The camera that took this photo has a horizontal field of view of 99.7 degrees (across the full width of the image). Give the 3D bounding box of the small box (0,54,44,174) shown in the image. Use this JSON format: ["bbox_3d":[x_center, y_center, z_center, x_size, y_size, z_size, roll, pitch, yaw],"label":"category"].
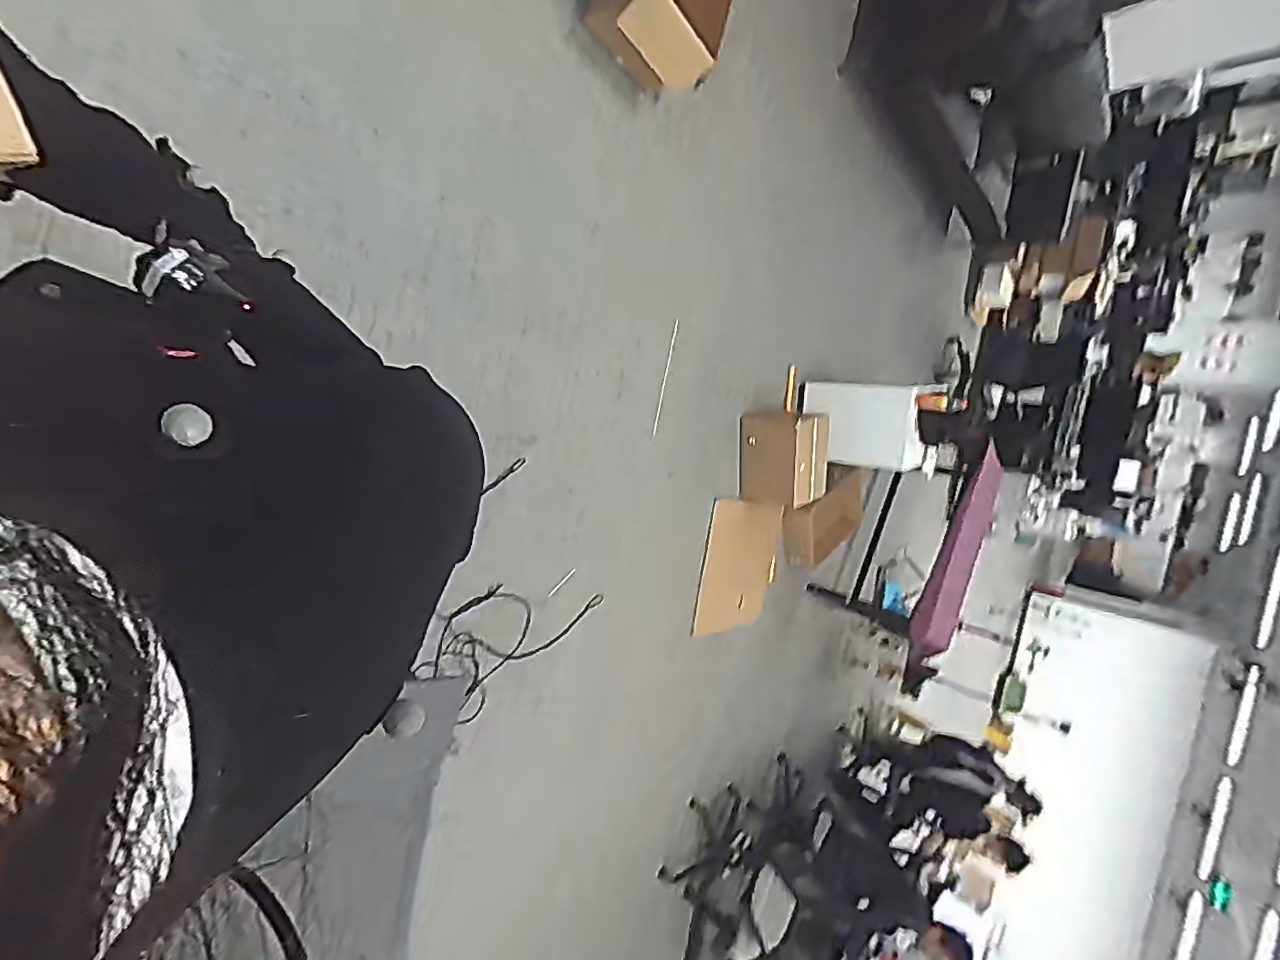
[{"bbox_3d":[-0.429,-0.232,0.231,0.168,0.176,0.179,-37,134,-48],"label":"small box"}]
